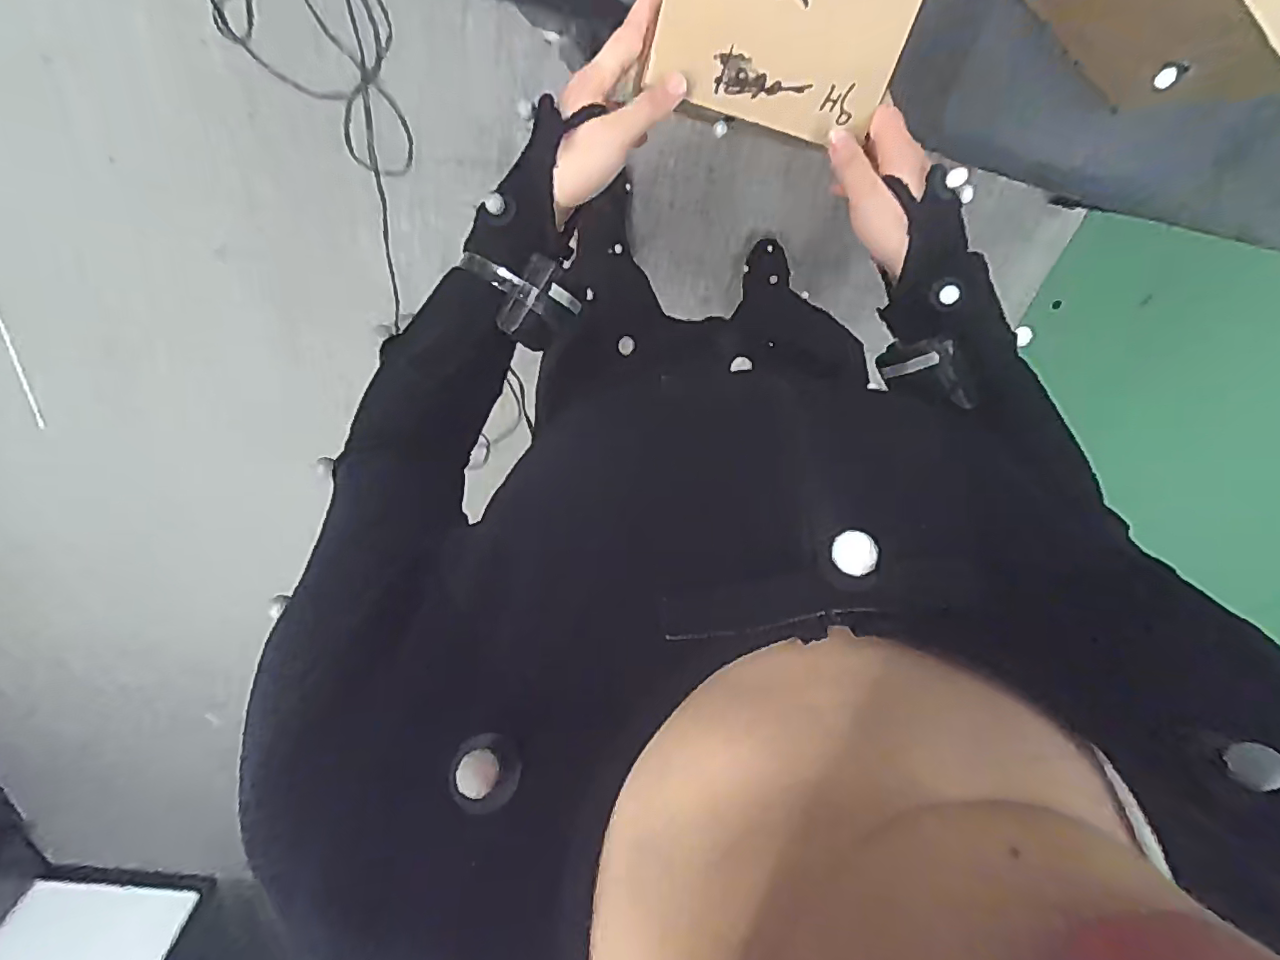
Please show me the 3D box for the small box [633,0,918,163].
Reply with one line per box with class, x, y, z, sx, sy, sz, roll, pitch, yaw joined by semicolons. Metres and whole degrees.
small box;0.094;-0.363;0.406;0.168;0.176;0.179;9;123;-11
